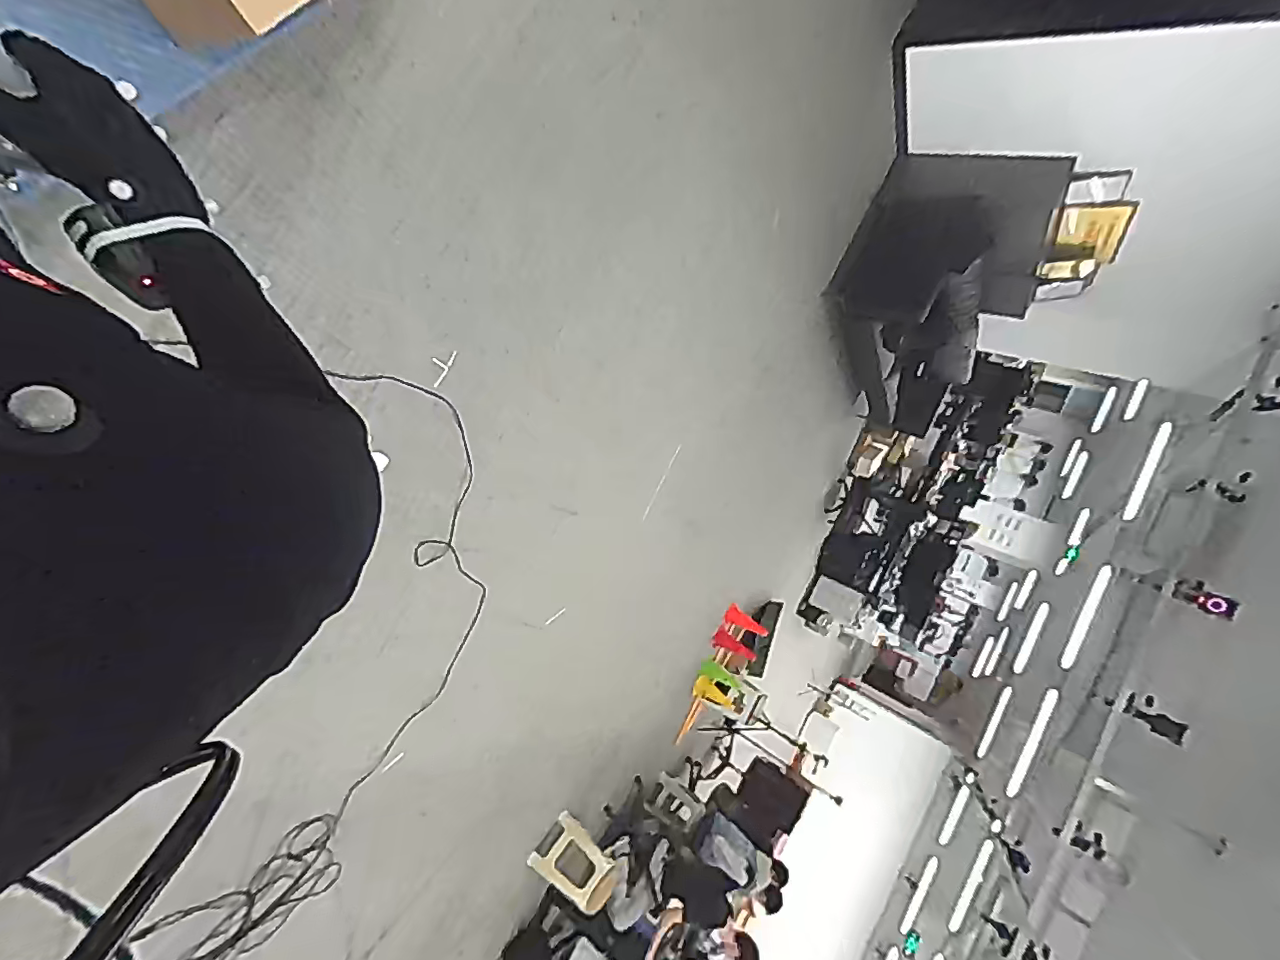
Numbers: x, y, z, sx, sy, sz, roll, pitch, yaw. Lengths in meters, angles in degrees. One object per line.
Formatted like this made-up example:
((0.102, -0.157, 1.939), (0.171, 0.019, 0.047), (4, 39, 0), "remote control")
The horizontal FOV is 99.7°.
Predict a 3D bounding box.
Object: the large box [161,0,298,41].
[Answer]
((-0.611, -0.893, 0.704), (0.320, 0.320, 0.408), (-55, 146, -16), "large box")
